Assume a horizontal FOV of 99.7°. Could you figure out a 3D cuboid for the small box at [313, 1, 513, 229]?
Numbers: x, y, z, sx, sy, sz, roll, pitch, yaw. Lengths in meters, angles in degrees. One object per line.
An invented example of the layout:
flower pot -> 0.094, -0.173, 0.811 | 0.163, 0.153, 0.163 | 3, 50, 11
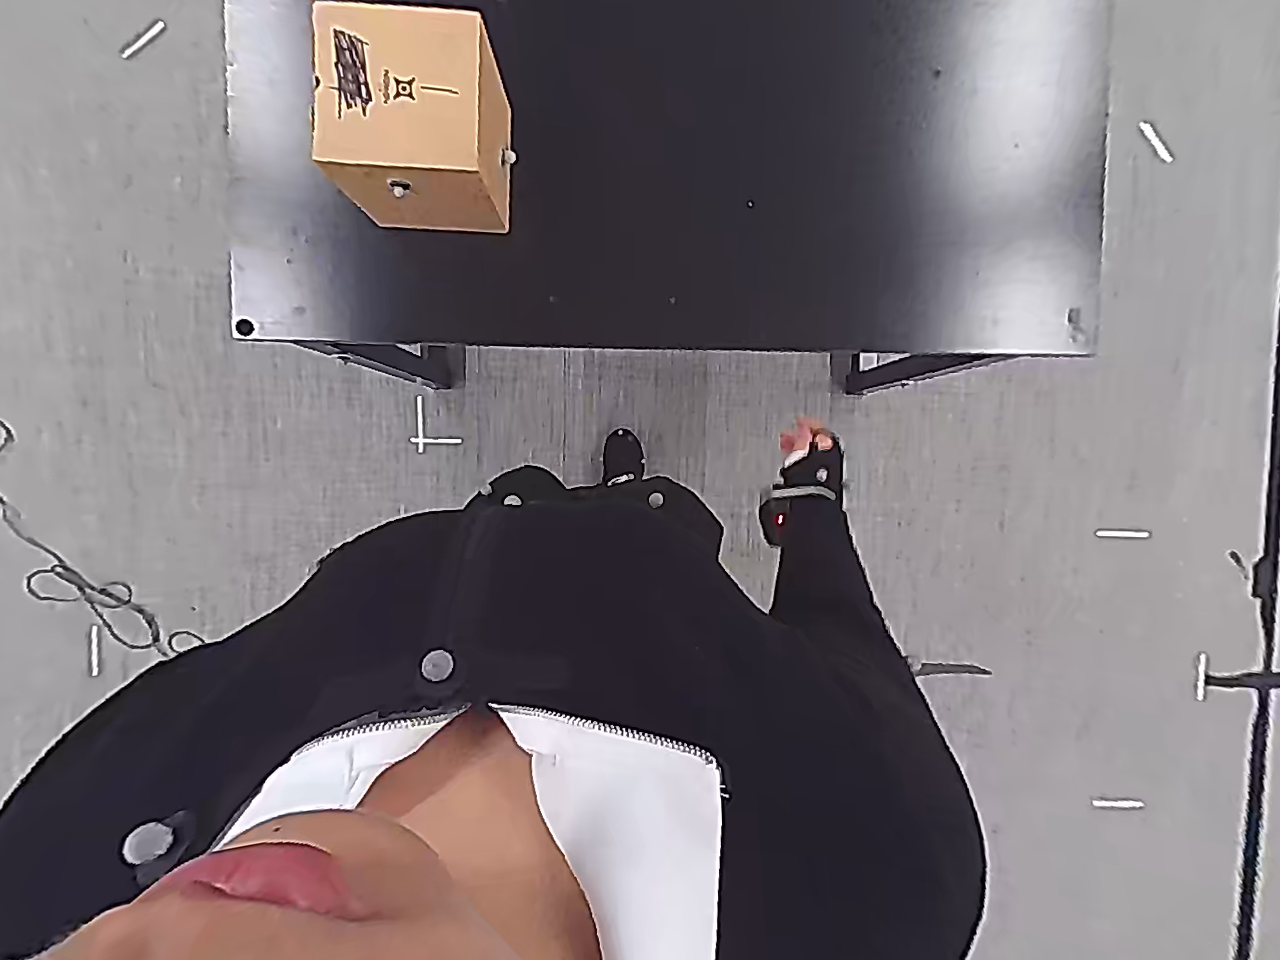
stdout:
small box -> -0.260, -0.421, 0.653 | 0.179, 0.176, 0.168 | 2, 93, -3
